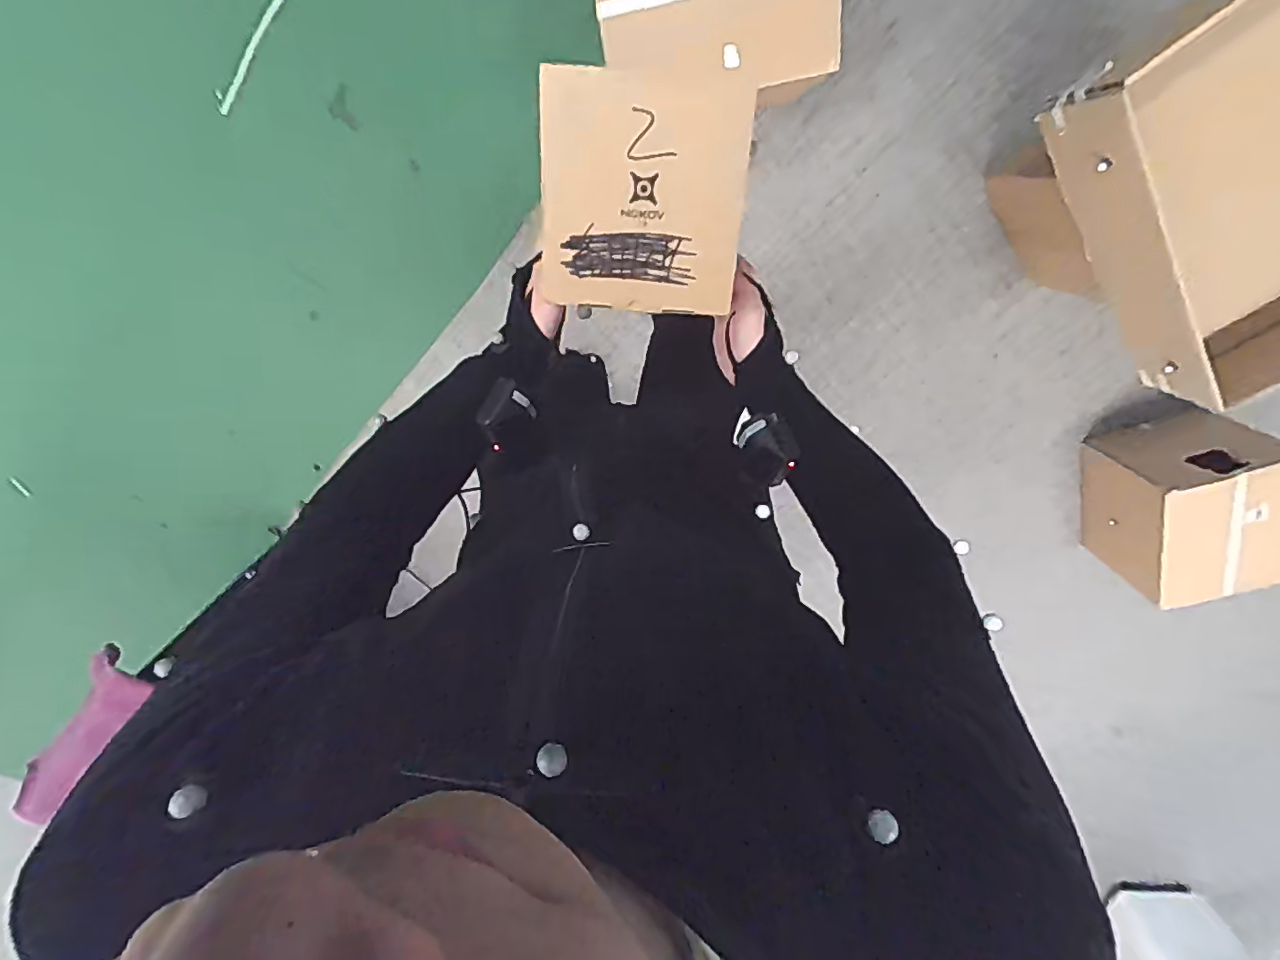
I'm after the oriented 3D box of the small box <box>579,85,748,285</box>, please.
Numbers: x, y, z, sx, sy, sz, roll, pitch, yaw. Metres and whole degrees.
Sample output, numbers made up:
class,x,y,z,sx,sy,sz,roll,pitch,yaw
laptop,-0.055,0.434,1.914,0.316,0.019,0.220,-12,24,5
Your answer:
class,x,y,z,sx,sy,sz,roll,pitch,yaw
small box,0.025,-0.344,0.650,0.168,0.176,0.179,6,116,0

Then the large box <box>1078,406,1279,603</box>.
class,x,y,z,sx,sy,sz,roll,pitch,yaw
large box,1.496,0.064,1.510,0.320,0.320,0.408,-19,116,11

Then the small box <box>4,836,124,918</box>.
class,x,y,z,sx,sy,sz,roll,pitch,yaw
small box,-1.308,0.885,1.276,0.168,0.176,0.179,39,113,-21
